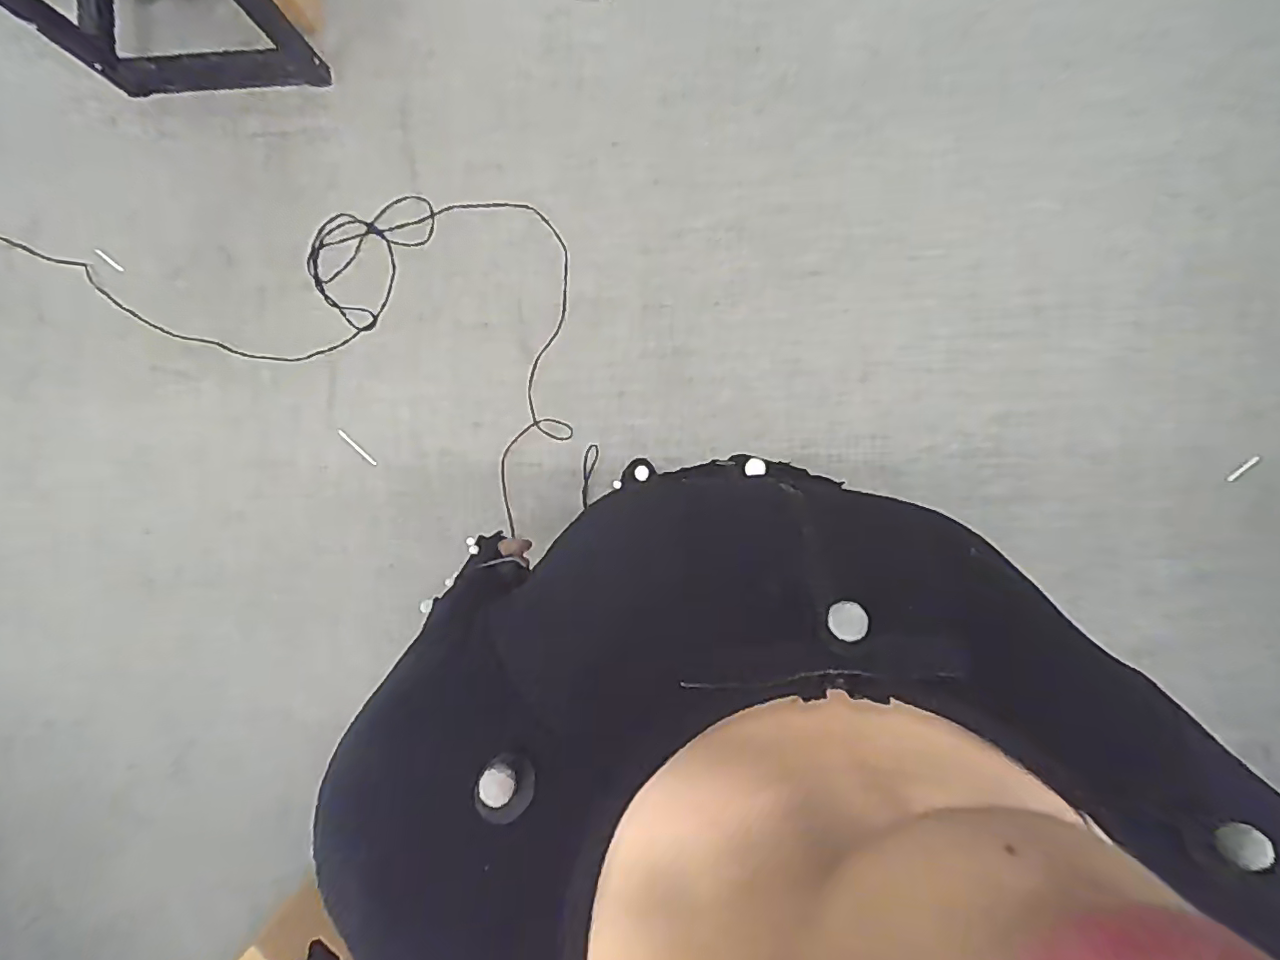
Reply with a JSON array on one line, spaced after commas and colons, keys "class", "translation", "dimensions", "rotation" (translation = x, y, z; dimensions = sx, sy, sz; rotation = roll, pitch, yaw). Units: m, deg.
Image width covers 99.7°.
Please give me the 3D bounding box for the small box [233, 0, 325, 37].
[{"class": "small box", "translation": [-0.951, -1.305, 1.414], "dimensions": [0.179, 0.176, 0.168], "rotation": [3, 92, 2]}]
